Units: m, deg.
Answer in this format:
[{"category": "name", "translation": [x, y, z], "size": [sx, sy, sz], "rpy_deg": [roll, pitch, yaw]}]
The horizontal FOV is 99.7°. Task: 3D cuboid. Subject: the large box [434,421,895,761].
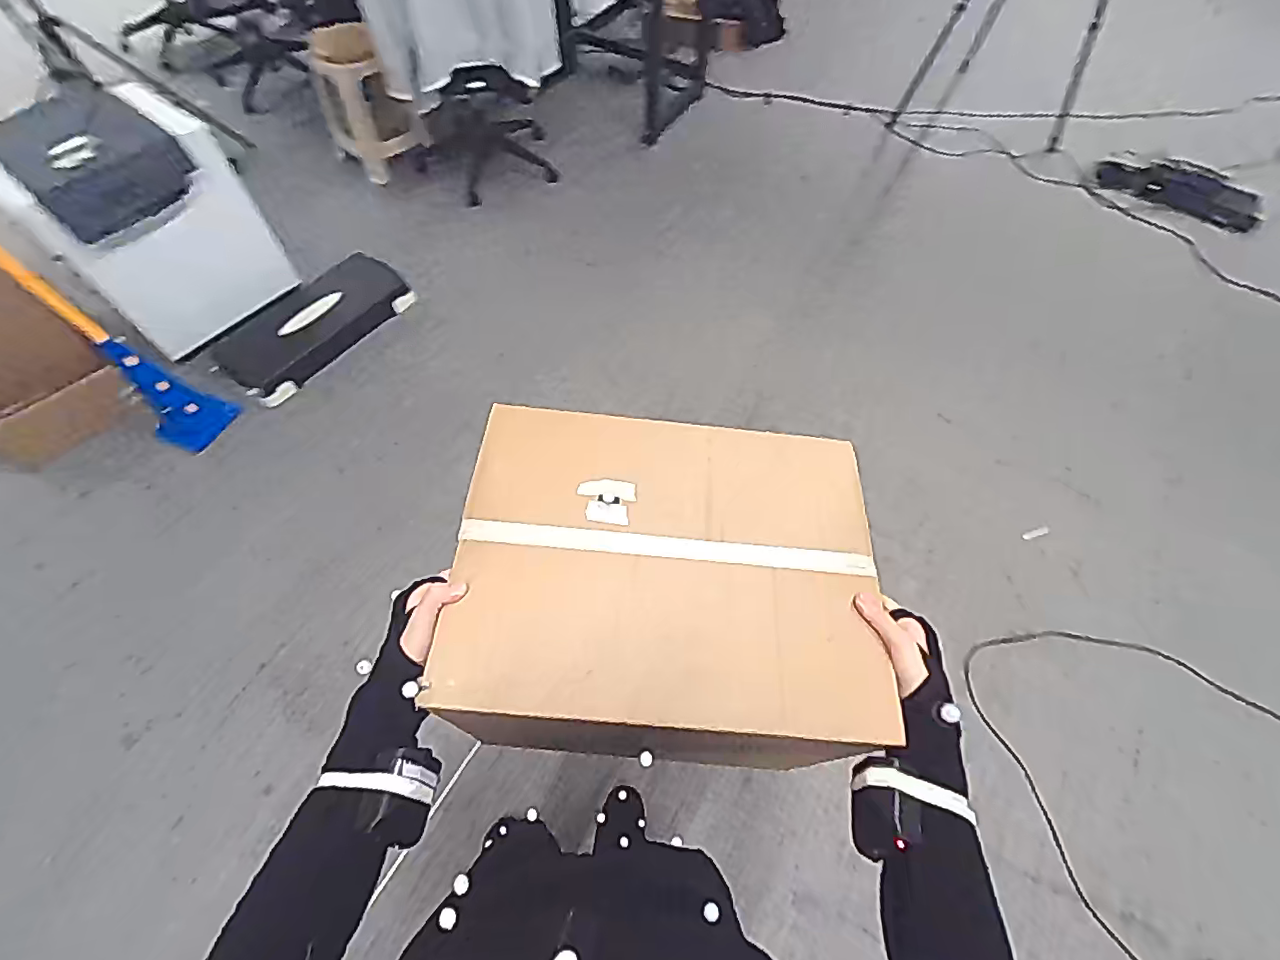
[{"category": "large box", "translation": [0.023, 0.155, 0.663], "size": [0.408, 0.320, 0.320], "rpy_deg": [5, 57, -1]}]
